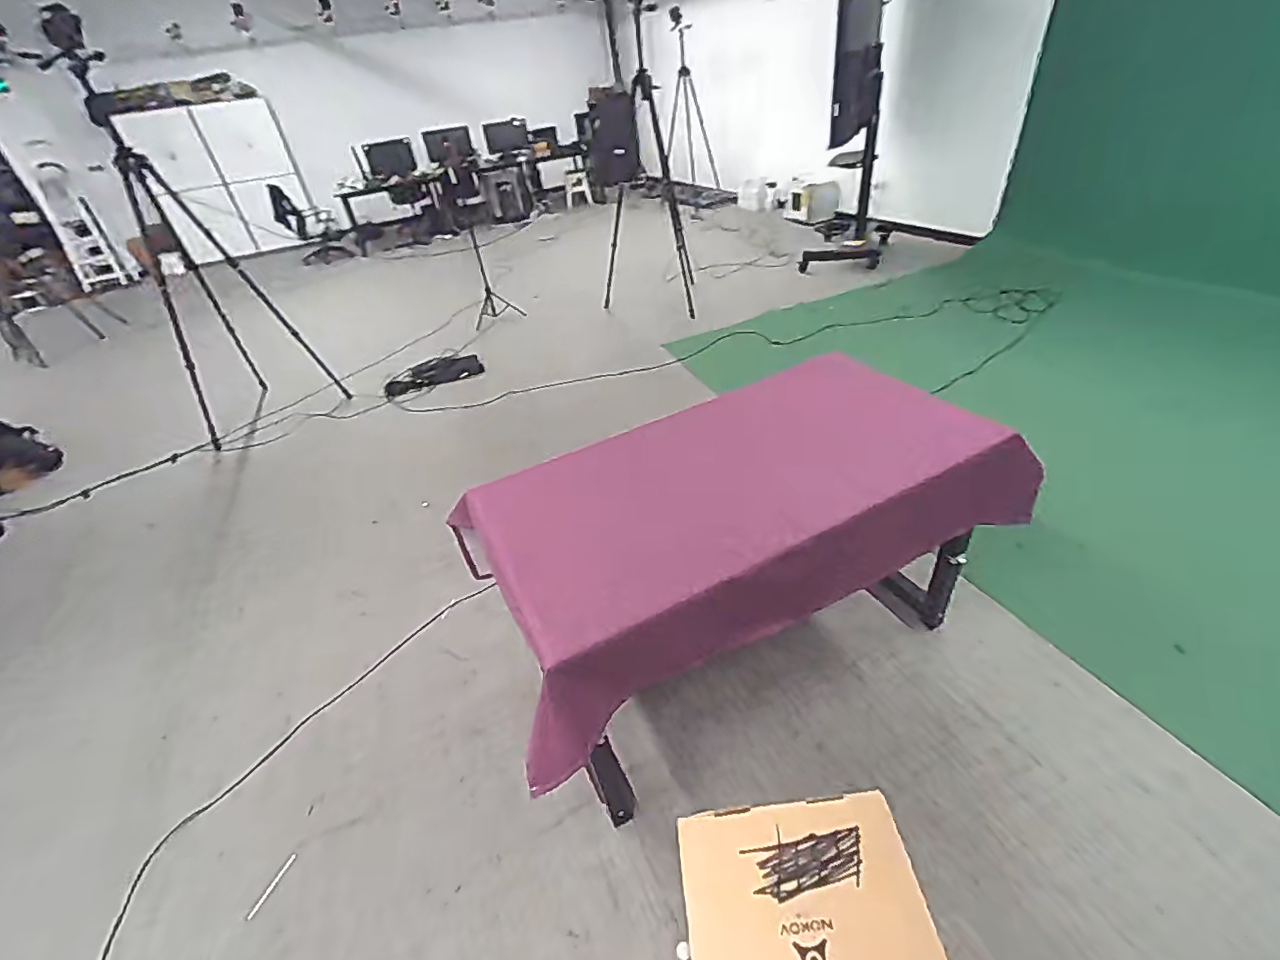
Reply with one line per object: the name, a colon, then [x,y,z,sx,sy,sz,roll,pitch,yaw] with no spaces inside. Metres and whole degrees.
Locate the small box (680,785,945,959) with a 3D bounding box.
small box: [0.130,0.371,0.420,0.168,0.176,0.179,-11,40,3]
